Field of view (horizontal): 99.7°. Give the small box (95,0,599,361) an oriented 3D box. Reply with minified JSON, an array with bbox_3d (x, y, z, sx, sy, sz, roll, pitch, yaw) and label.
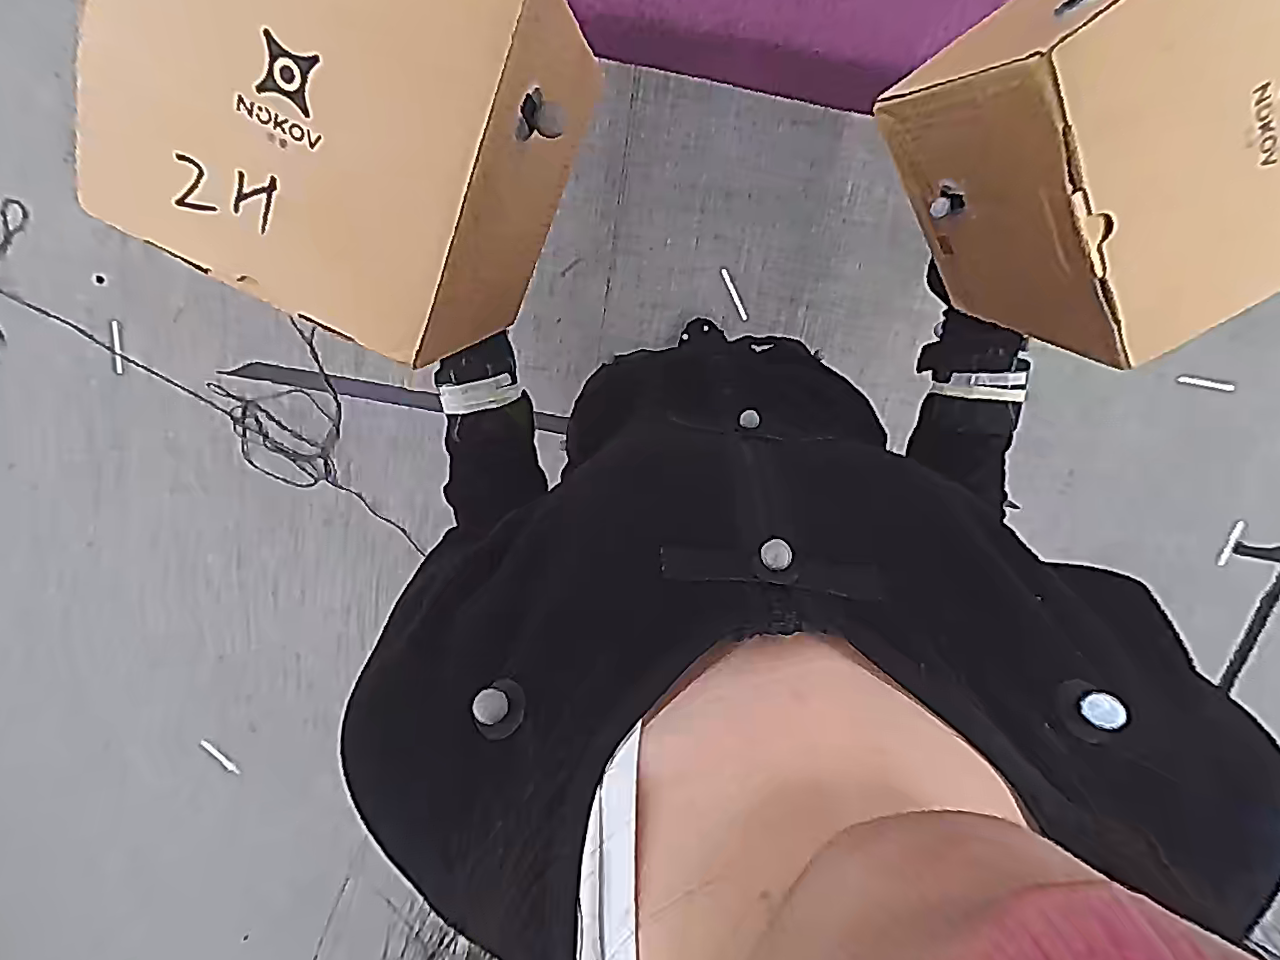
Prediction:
[{"bbox_3d":[-0.132,-0.195,0.297,0.168,0.176,0.179,26,114,-6],"label":"small box"}]

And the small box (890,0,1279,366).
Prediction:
[{"bbox_3d":[0.281,-0.200,0.304,0.179,0.176,0.168,-32,116,15],"label":"small box"}]

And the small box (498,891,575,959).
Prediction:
[{"bbox_3d":[-0.290,1.290,1.500,0.179,0.176,0.168,17,105,-4],"label":"small box"}]
